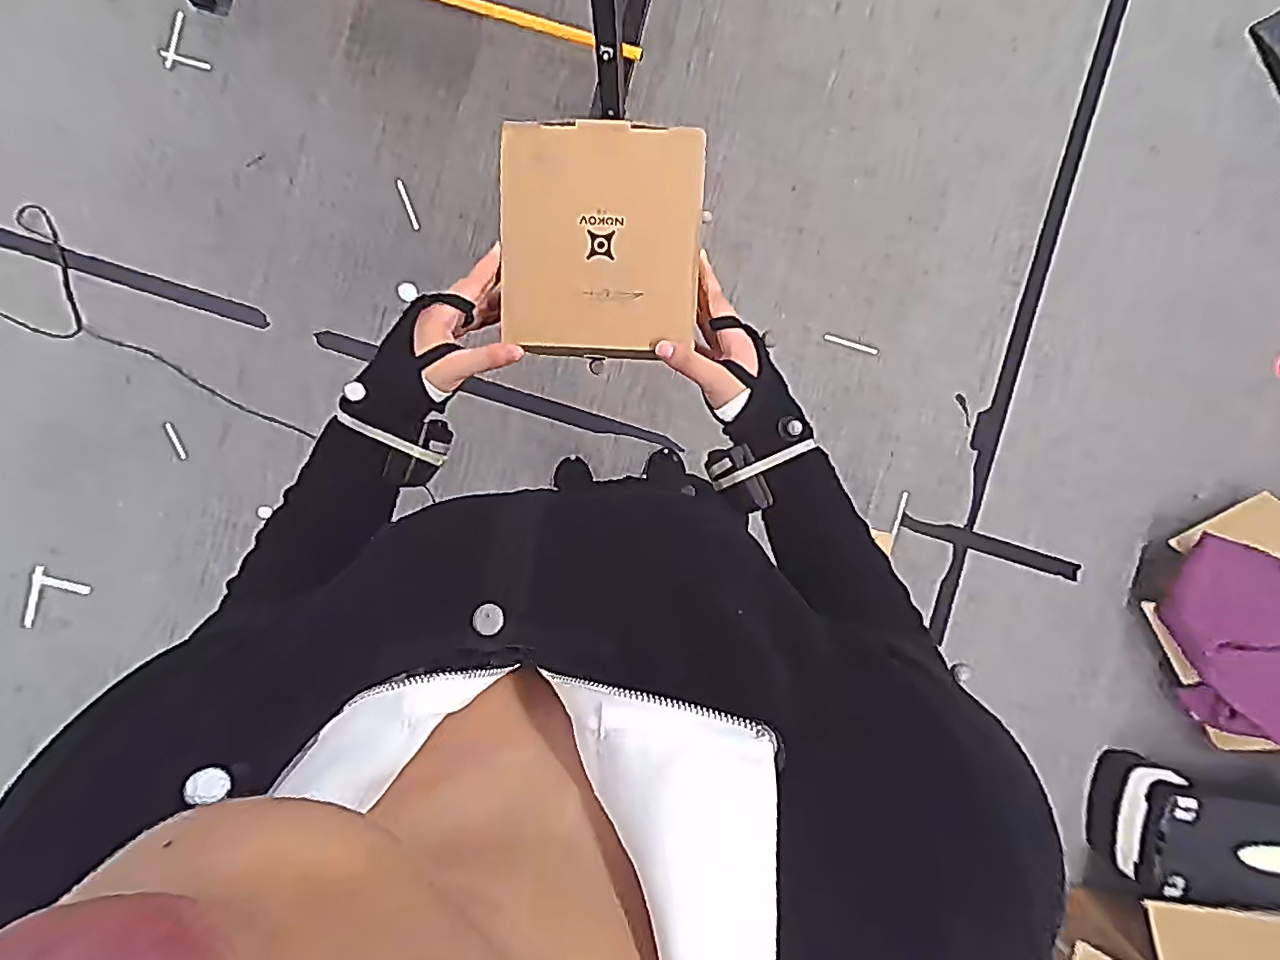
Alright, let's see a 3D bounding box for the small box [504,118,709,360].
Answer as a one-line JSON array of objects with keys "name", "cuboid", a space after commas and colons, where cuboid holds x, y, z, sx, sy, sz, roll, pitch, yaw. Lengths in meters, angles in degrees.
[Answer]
[{"name": "small box", "cuboid": [-0.030, -0.213, 0.524, 0.168, 0.176, 0.179, 3, 100, 0]}]
